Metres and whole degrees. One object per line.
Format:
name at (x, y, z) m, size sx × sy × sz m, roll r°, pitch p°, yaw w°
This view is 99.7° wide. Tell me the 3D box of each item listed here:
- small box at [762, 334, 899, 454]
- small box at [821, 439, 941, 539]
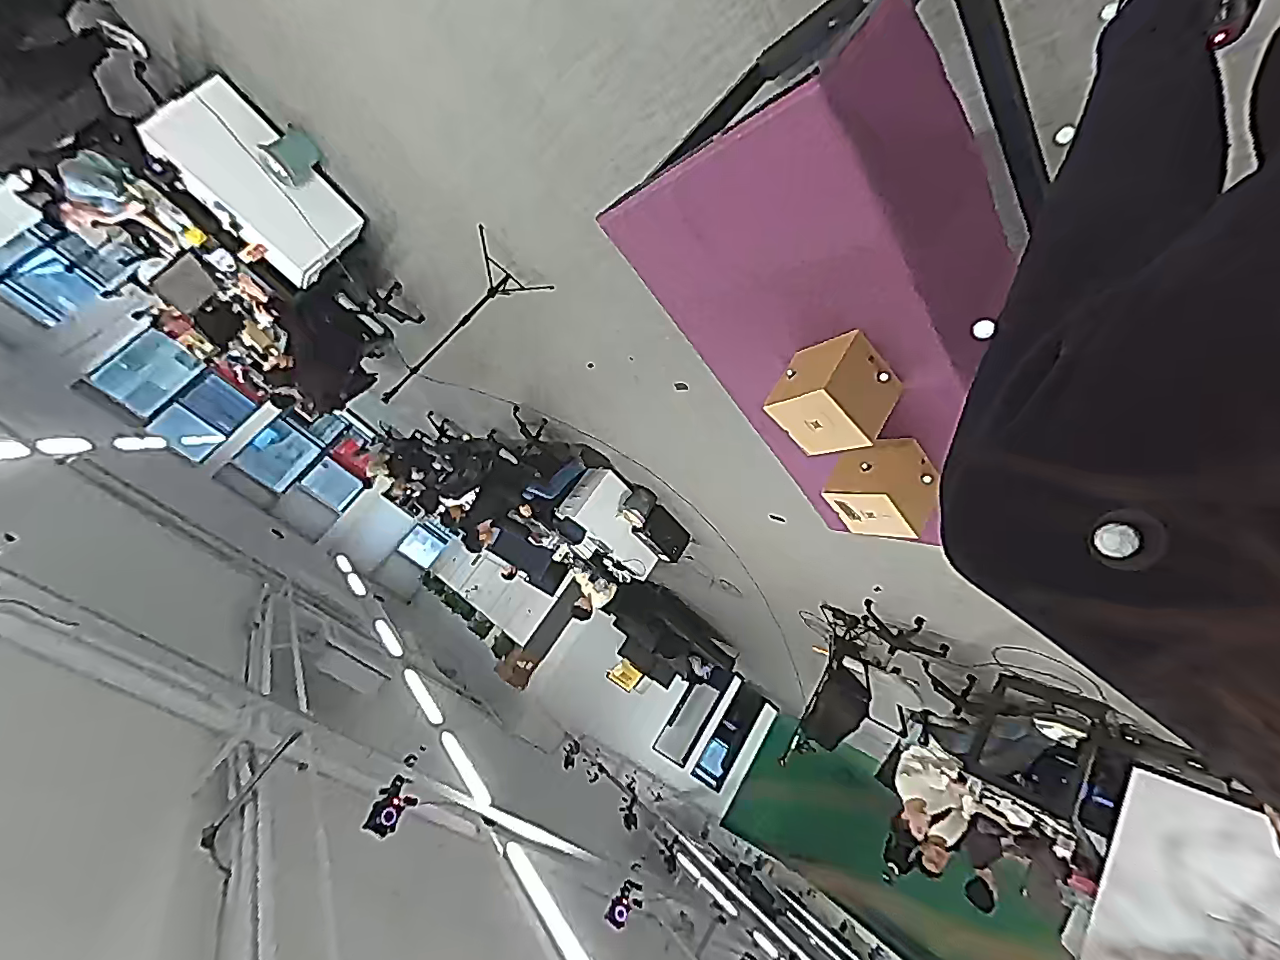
small box at (0.399, -0.175, 1.130) m, size 0.168 × 0.176 × 0.179 m, roll 41°, pitch 161°, yaw -19°
small box at (0.576, 0.018, 1.290) m, size 0.168 × 0.176 × 0.179 m, roll 44°, pitch 159°, yaw -25°
